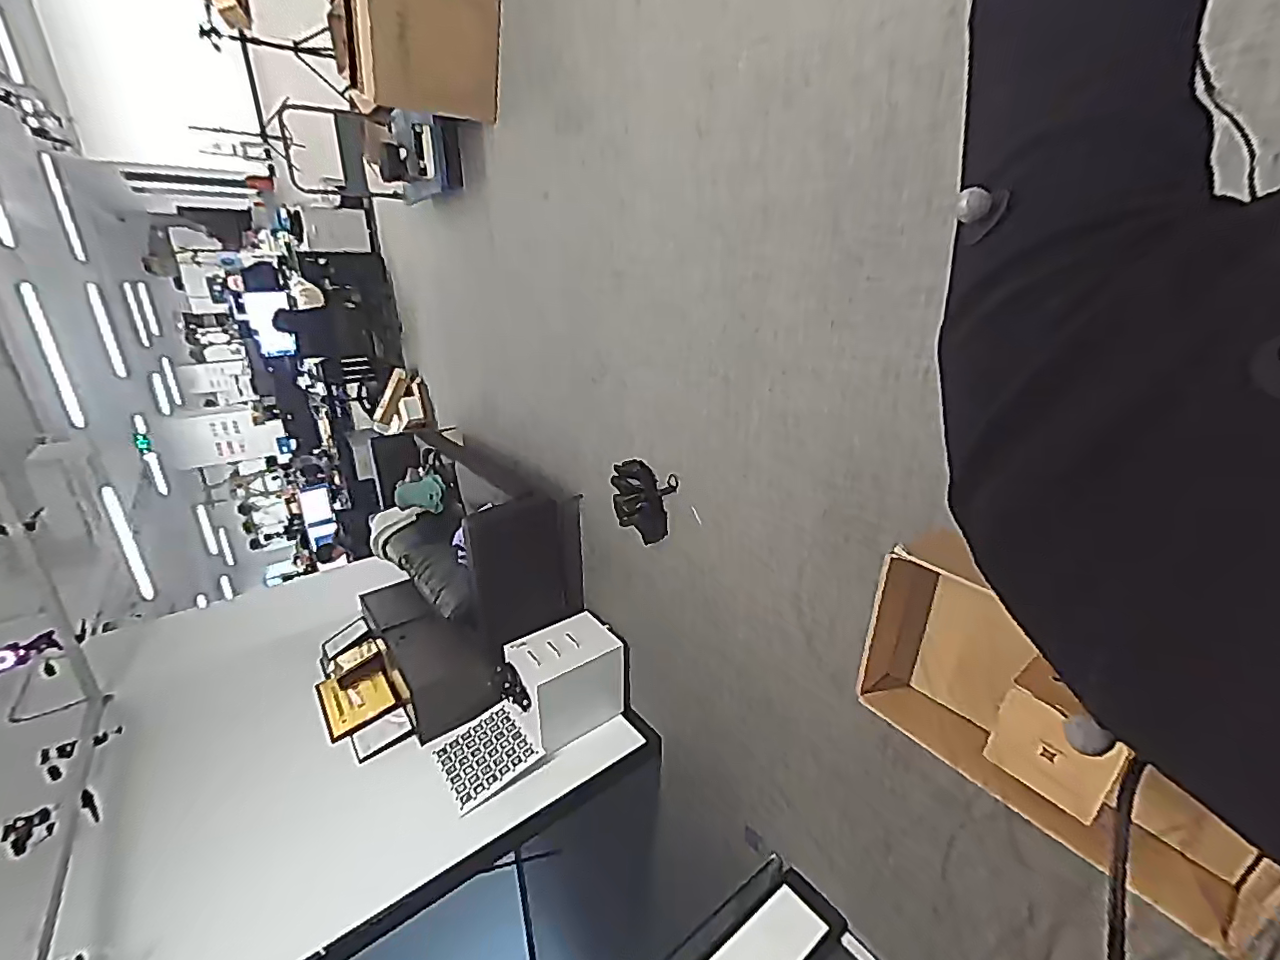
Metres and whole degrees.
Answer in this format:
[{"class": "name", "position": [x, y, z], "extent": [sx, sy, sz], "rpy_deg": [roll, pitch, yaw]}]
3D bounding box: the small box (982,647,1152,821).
[{"class": "small box", "position": [0.732, 0.423, 0.930], "extent": [0.168, 0.176, 0.179], "rpy_deg": [29, 128, 49]}]
